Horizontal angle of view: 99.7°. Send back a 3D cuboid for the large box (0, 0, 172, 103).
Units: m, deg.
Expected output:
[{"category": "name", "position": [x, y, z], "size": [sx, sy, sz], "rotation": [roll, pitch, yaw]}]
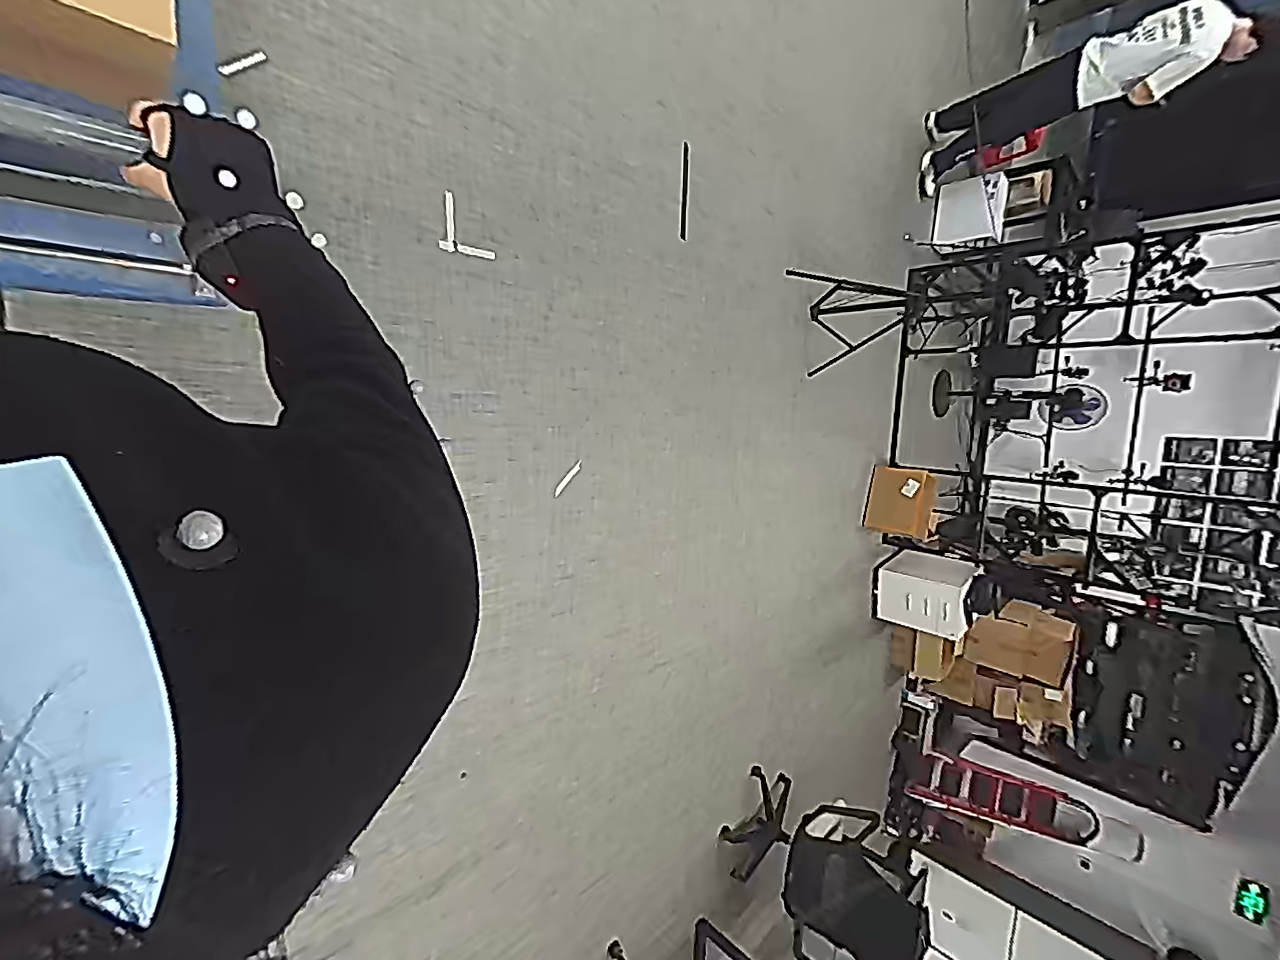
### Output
[{"category": "large box", "position": [-0.890, -0.776, 0.697], "size": [0.408, 0.320, 0.320], "rotation": [-5, 100, -44]}]
